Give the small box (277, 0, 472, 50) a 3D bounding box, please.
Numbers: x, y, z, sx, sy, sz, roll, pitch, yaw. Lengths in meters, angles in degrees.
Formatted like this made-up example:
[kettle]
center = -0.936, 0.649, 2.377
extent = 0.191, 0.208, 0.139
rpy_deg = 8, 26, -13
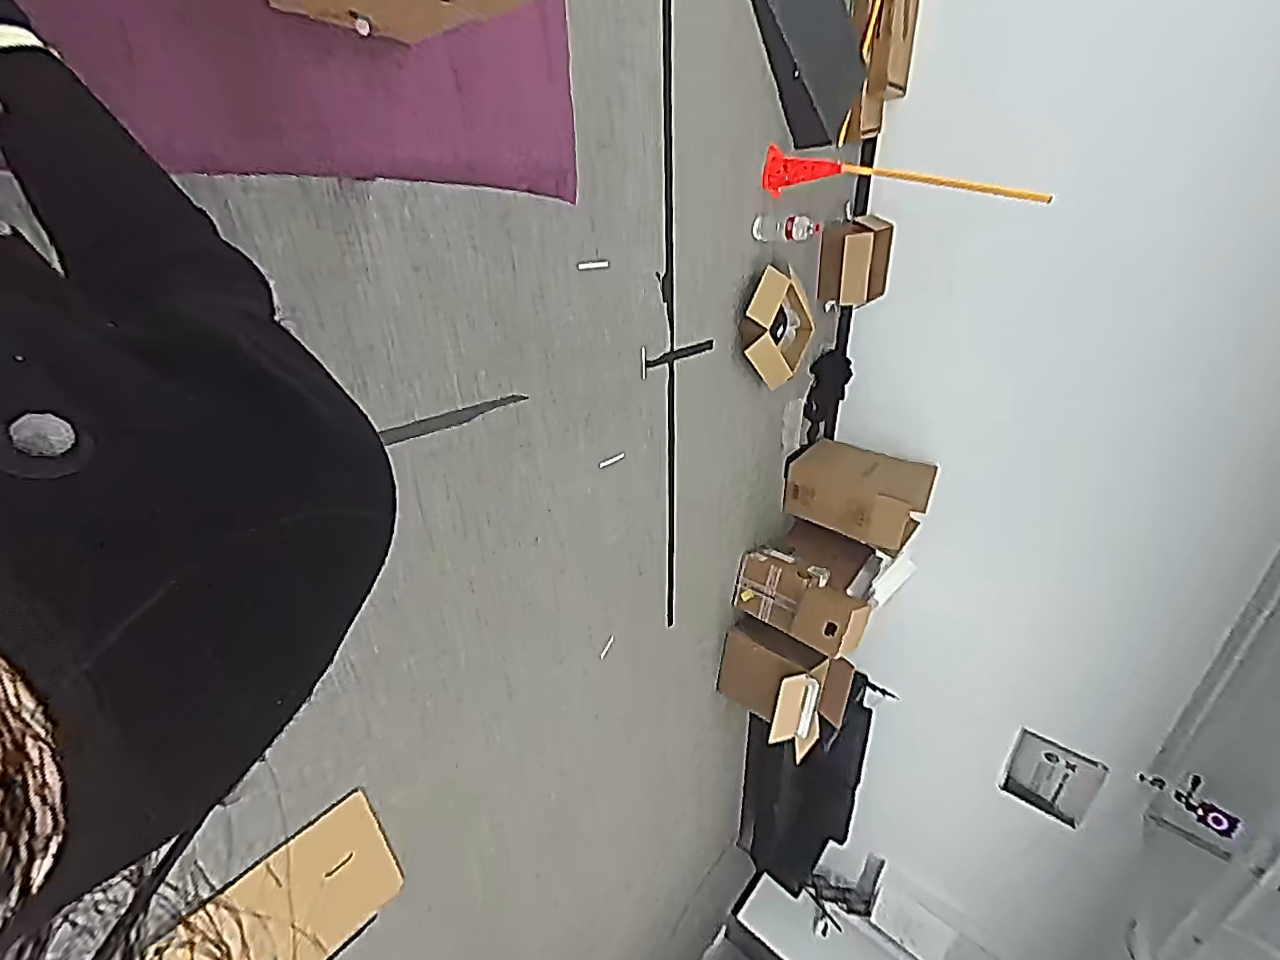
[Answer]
[small box]
center = -0.285, -0.587, 0.561
extent = 0.168, 0.176, 0.179
rpy_deg = -24, 124, -43
